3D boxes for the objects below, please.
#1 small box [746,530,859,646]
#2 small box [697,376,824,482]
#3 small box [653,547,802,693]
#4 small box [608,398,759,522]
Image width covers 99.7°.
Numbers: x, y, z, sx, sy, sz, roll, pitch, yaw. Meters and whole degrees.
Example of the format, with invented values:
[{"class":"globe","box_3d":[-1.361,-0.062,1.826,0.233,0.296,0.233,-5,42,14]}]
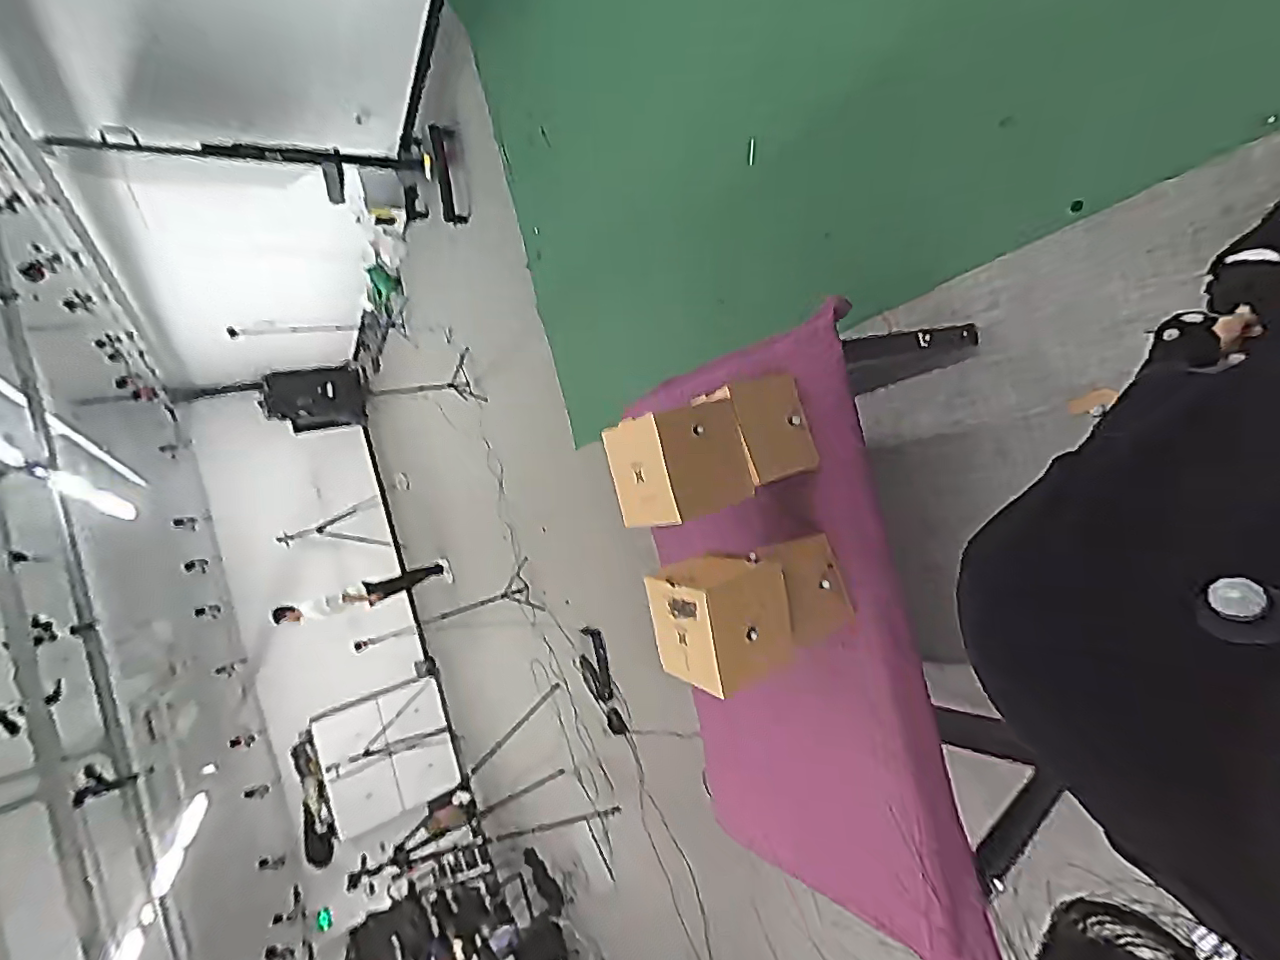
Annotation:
[{"class":"small box","box_3d":[0.275,0.204,1.025,0.179,0.176,0.168,-28,80,57]},{"class":"small box","box_3d":[0.208,-0.086,1.006,0.168,0.176,0.179,-23,84,57]},{"class":"small box","box_3d":[0.149,0.223,0.918,0.168,0.176,0.179,0,103,58]},{"class":"small box","box_3d":[0.075,-0.036,0.924,0.168,0.176,0.179,-12,94,57]}]
